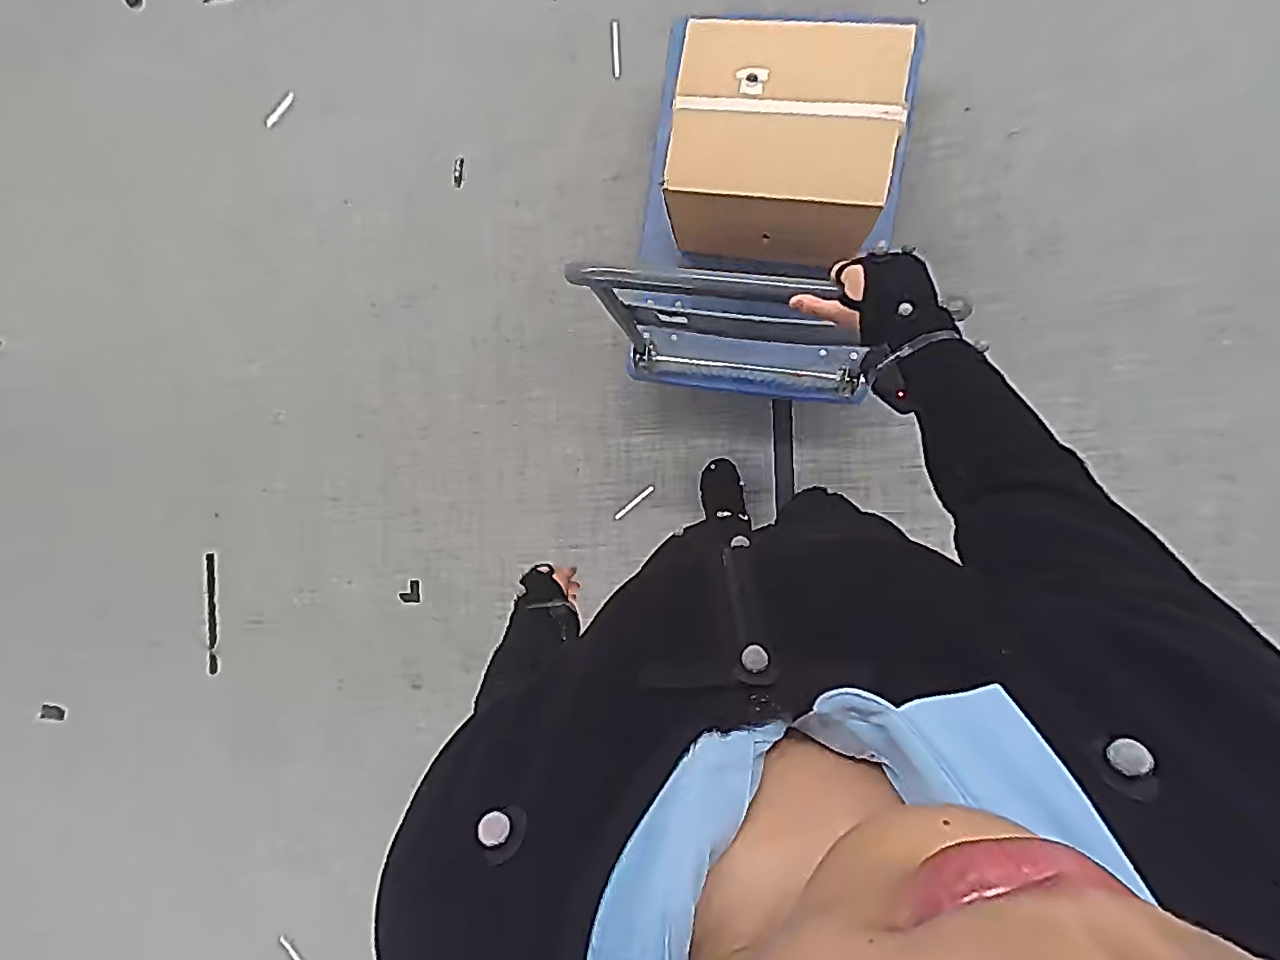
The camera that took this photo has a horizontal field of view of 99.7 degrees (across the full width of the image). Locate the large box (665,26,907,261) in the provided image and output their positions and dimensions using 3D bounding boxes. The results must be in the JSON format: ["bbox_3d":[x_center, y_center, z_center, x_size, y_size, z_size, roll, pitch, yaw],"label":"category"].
[{"bbox_3d":[0.290,-0.677,1.140,0.408,0.320,0.320,9,92,11],"label":"large box"}]
